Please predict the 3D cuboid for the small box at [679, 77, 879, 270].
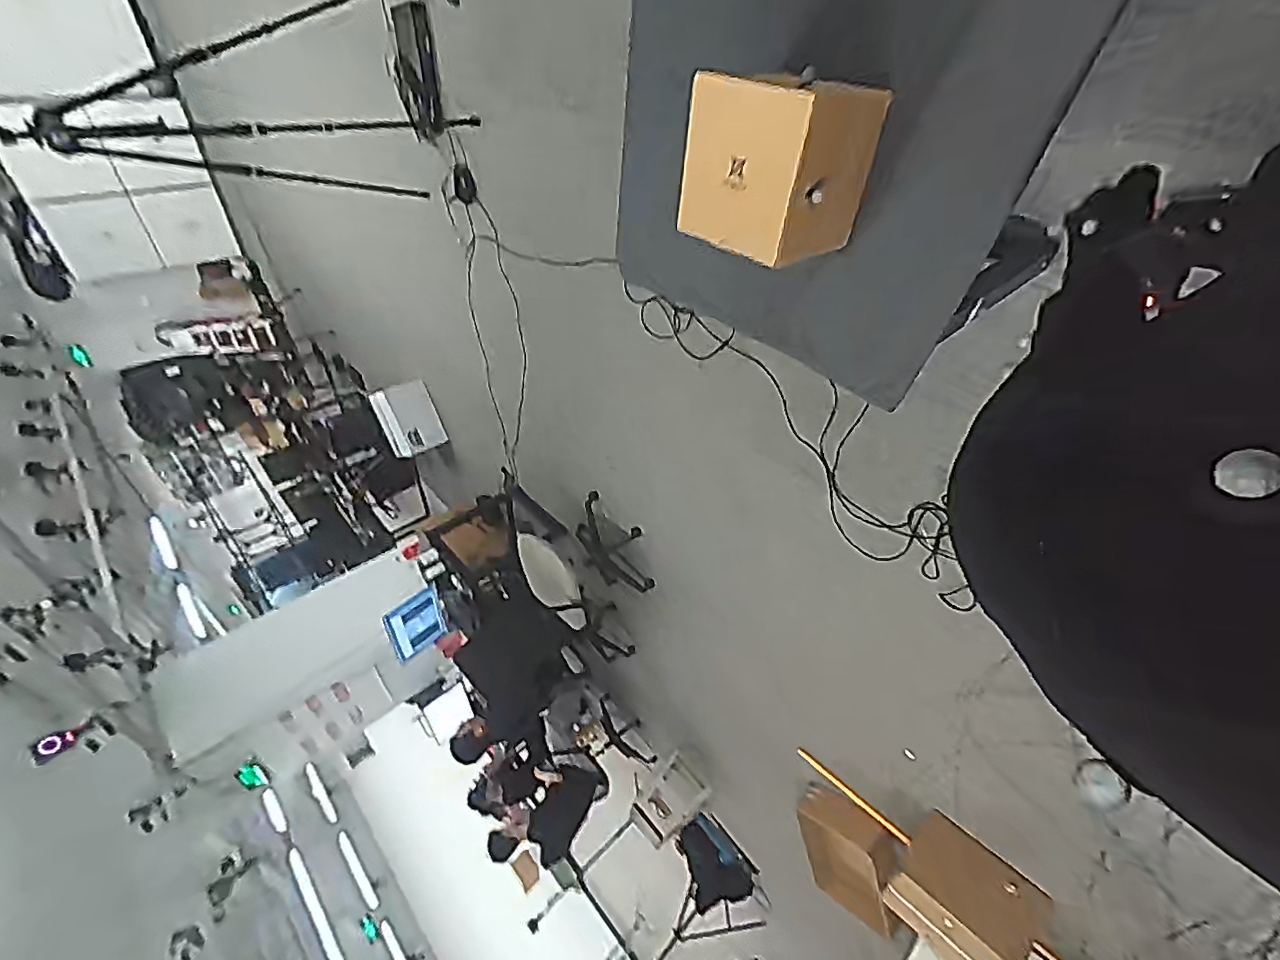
[{"bbox_3d":[0.173,-0.395,0.685,0.168,0.176,0.179,37,141,31],"label":"small box"}]
